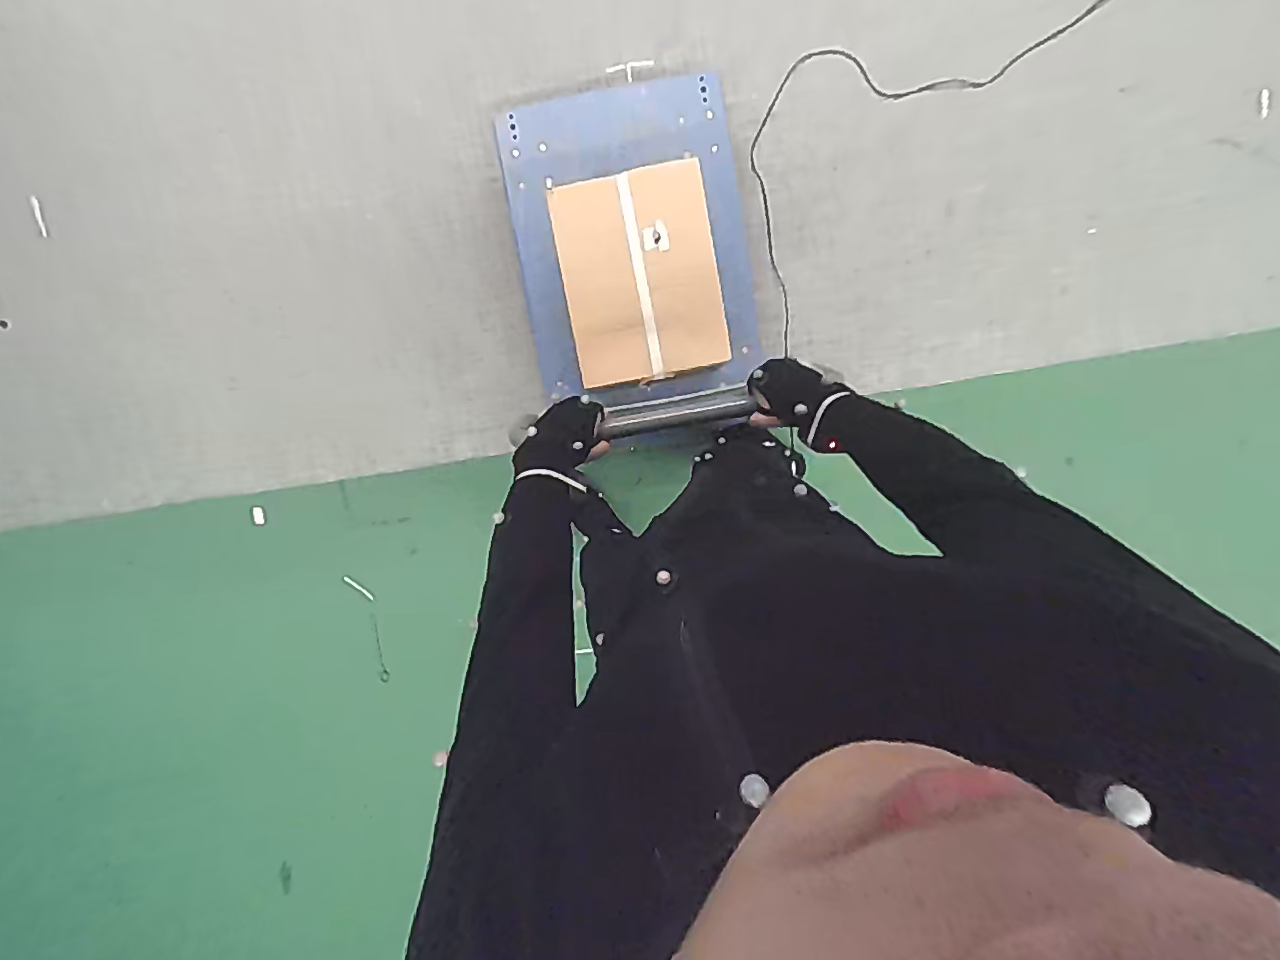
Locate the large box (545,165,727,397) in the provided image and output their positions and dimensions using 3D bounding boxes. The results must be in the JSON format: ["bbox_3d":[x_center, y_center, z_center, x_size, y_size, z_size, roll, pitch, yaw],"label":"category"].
[{"bbox_3d":[-0.001,-0.424,1.255,0.320,0.320,0.408,-10,95,2],"label":"large box"}]
